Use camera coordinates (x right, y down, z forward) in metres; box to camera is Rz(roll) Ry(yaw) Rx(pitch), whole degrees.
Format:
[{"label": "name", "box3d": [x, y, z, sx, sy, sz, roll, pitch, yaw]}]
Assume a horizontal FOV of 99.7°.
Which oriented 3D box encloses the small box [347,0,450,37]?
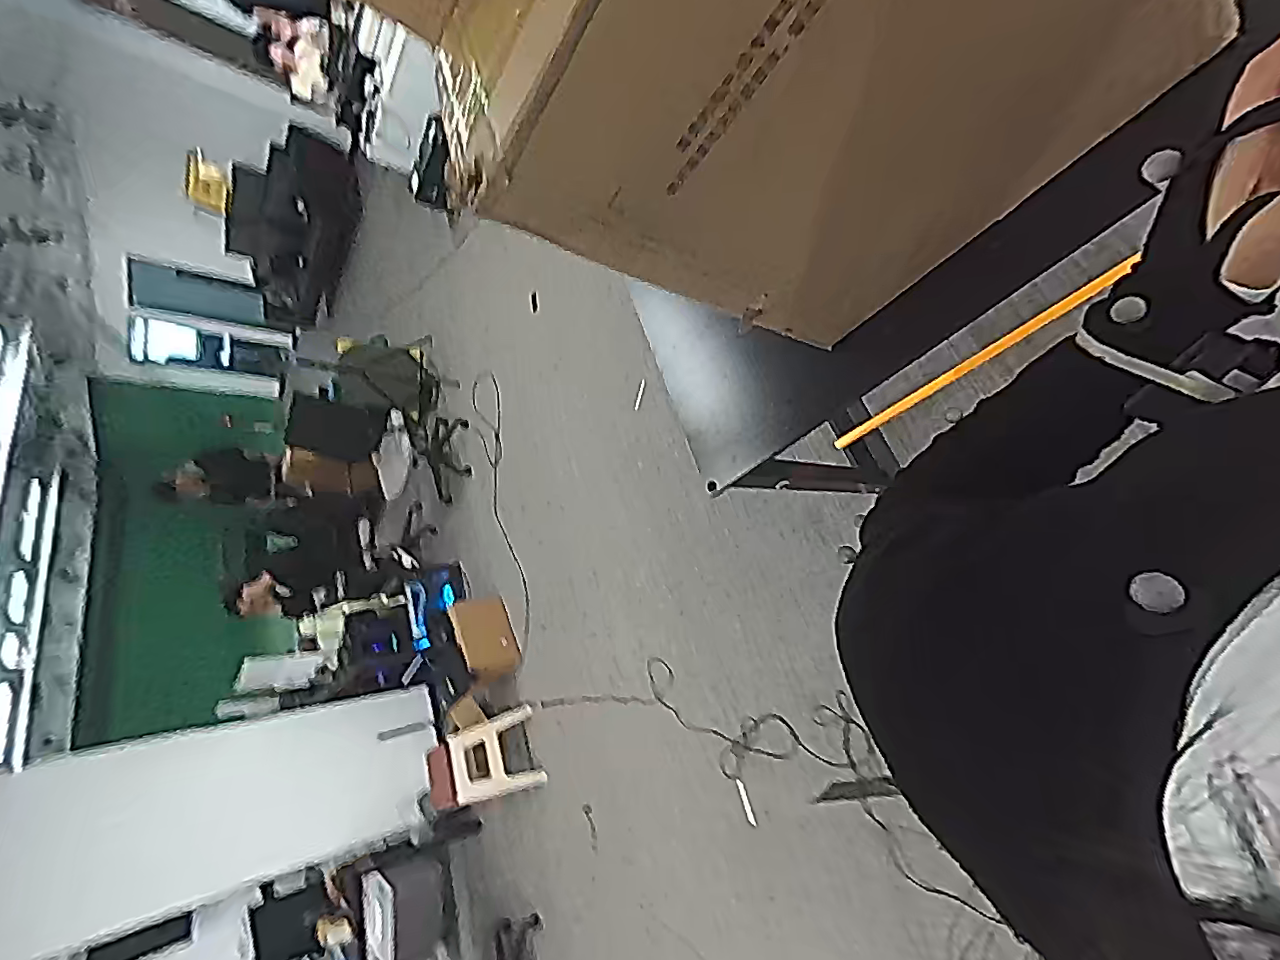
[{"label": "small box", "box3d": [-0.238, -0.540, 0.465, 0.168, 0.176, 0.179, -38, 60, 40]}]
